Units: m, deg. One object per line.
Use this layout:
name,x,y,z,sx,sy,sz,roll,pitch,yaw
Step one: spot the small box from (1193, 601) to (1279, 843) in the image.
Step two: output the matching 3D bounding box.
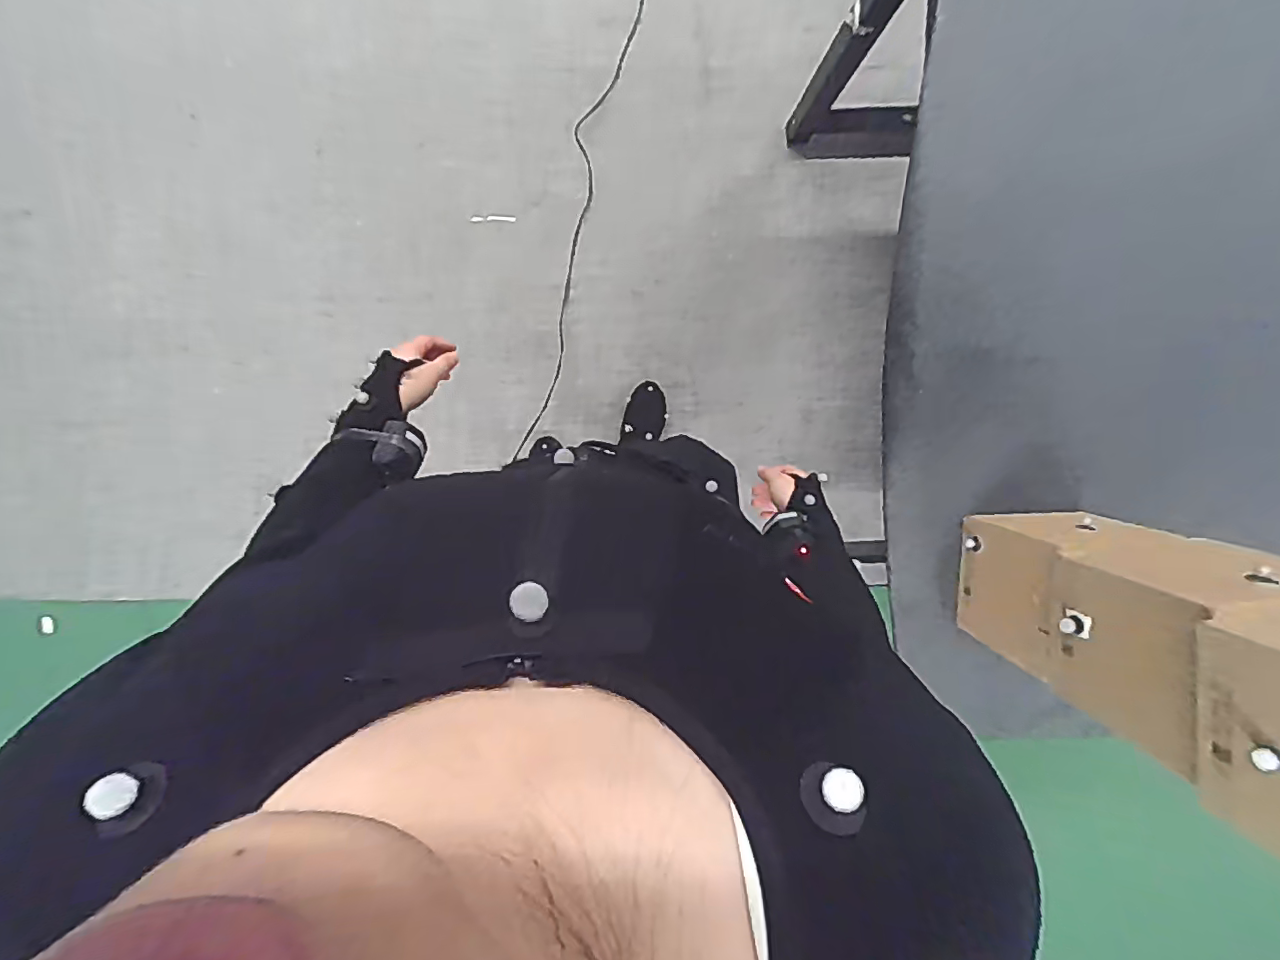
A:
small box,0.548,0.183,0.369,0.179,0.176,0.168,-8,97,-2

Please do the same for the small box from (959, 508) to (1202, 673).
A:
small box,0.544,0.132,0.693,0.179,0.176,0.168,-2,98,-4

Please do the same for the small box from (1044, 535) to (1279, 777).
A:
small box,0.548,0.156,0.532,0.179,0.176,0.168,-5,98,-1
